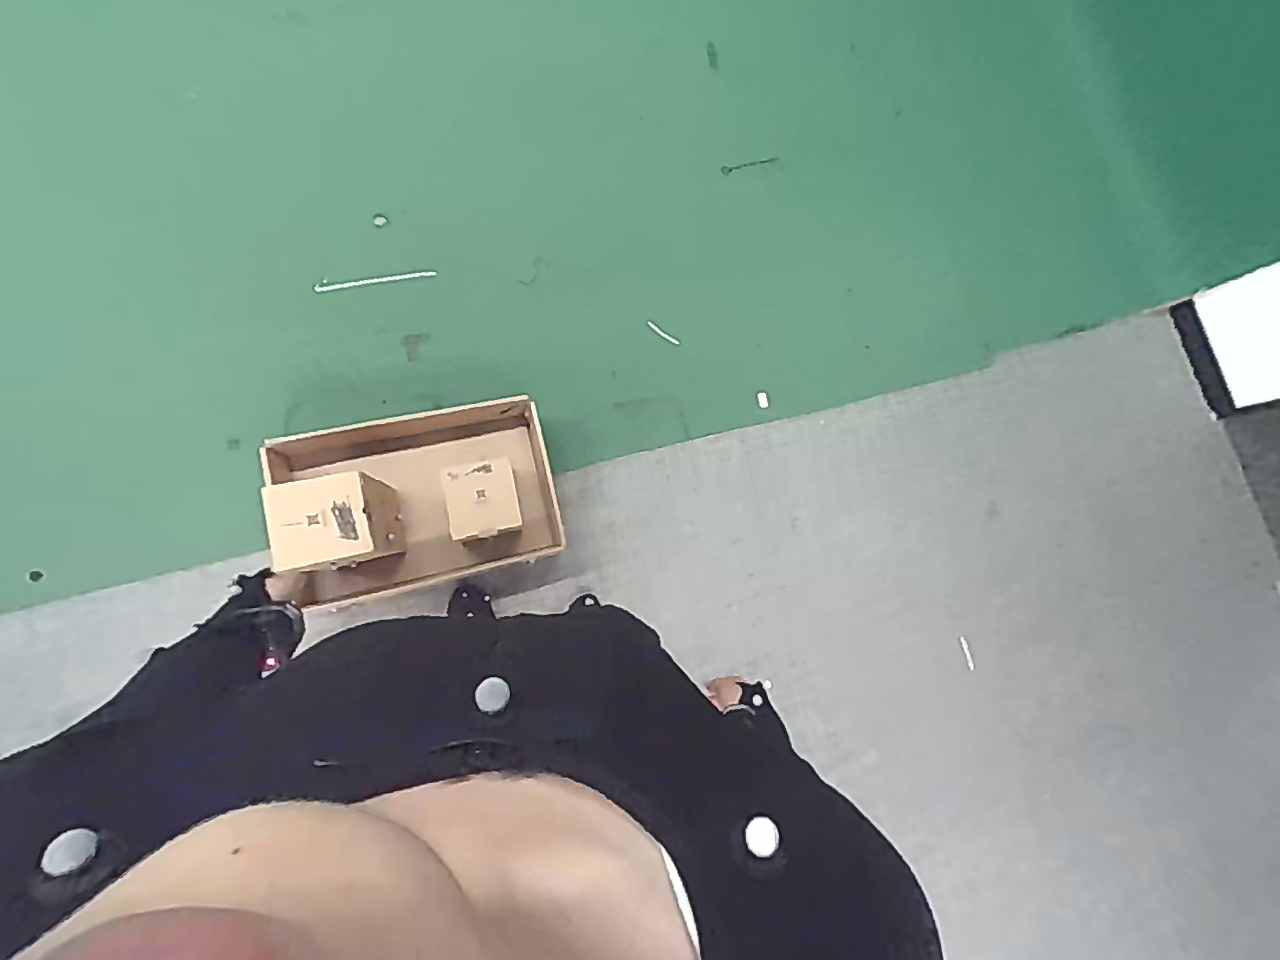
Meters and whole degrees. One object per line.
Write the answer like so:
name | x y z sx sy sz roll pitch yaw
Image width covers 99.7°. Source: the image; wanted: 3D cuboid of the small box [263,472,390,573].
small box | -0.623 0.088 1.100 0.179 0.176 0.168 -12 85 -14

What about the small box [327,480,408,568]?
small box | -0.661 0.107 1.259 0.179 0.176 0.168 -13 86 -16

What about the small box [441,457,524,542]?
small box | -0.381 0.051 1.333 0.168 0.176 0.179 -11 85 -13
